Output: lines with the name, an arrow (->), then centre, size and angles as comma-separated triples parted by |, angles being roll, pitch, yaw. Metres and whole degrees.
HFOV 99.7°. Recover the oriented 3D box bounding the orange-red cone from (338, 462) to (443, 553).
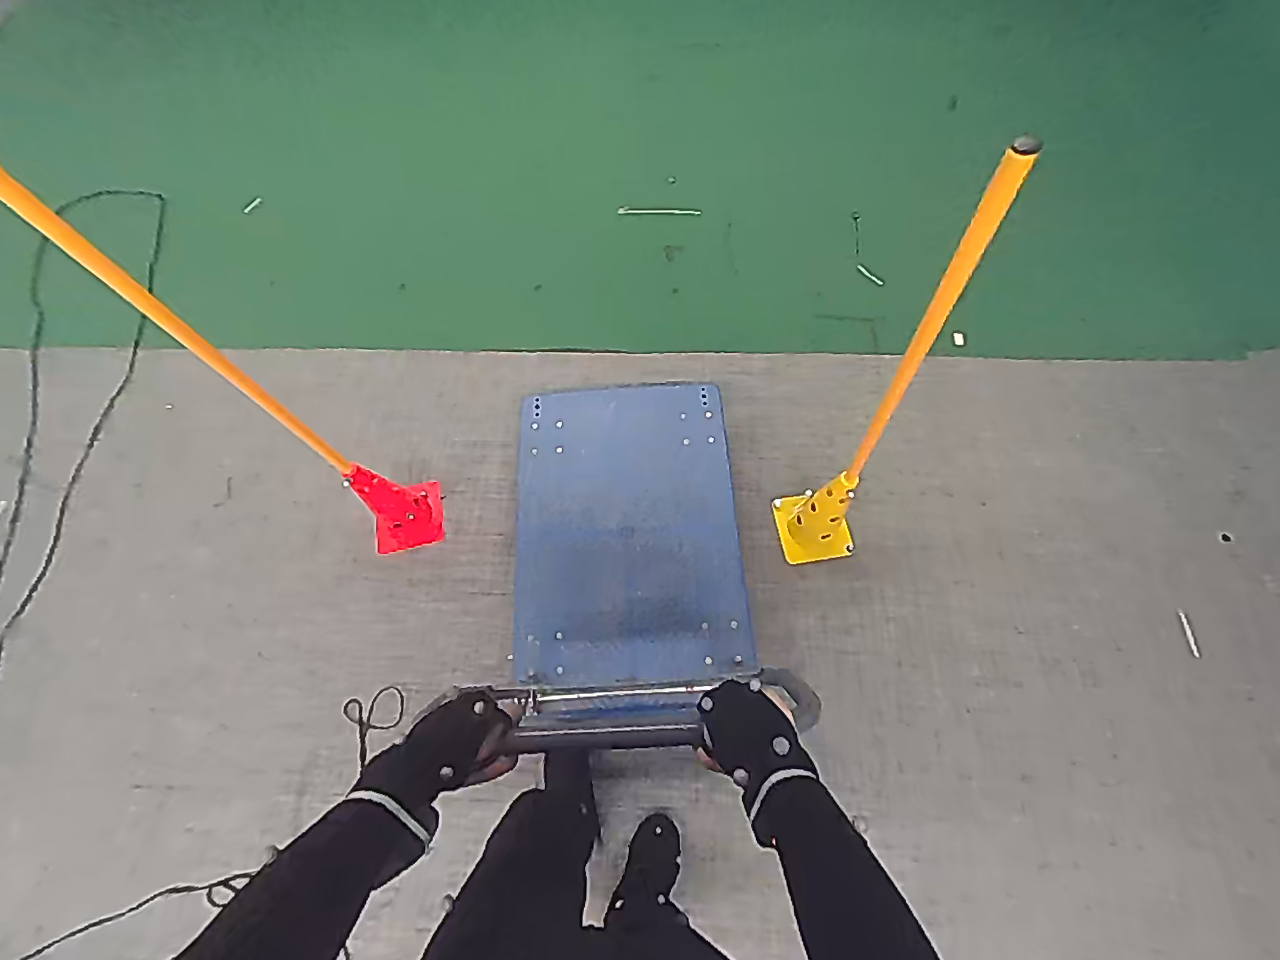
orange-red cone -> -0.693, 0.044, 1.443 | 0.199, 0.360, 0.198 | -13, 67, -2
